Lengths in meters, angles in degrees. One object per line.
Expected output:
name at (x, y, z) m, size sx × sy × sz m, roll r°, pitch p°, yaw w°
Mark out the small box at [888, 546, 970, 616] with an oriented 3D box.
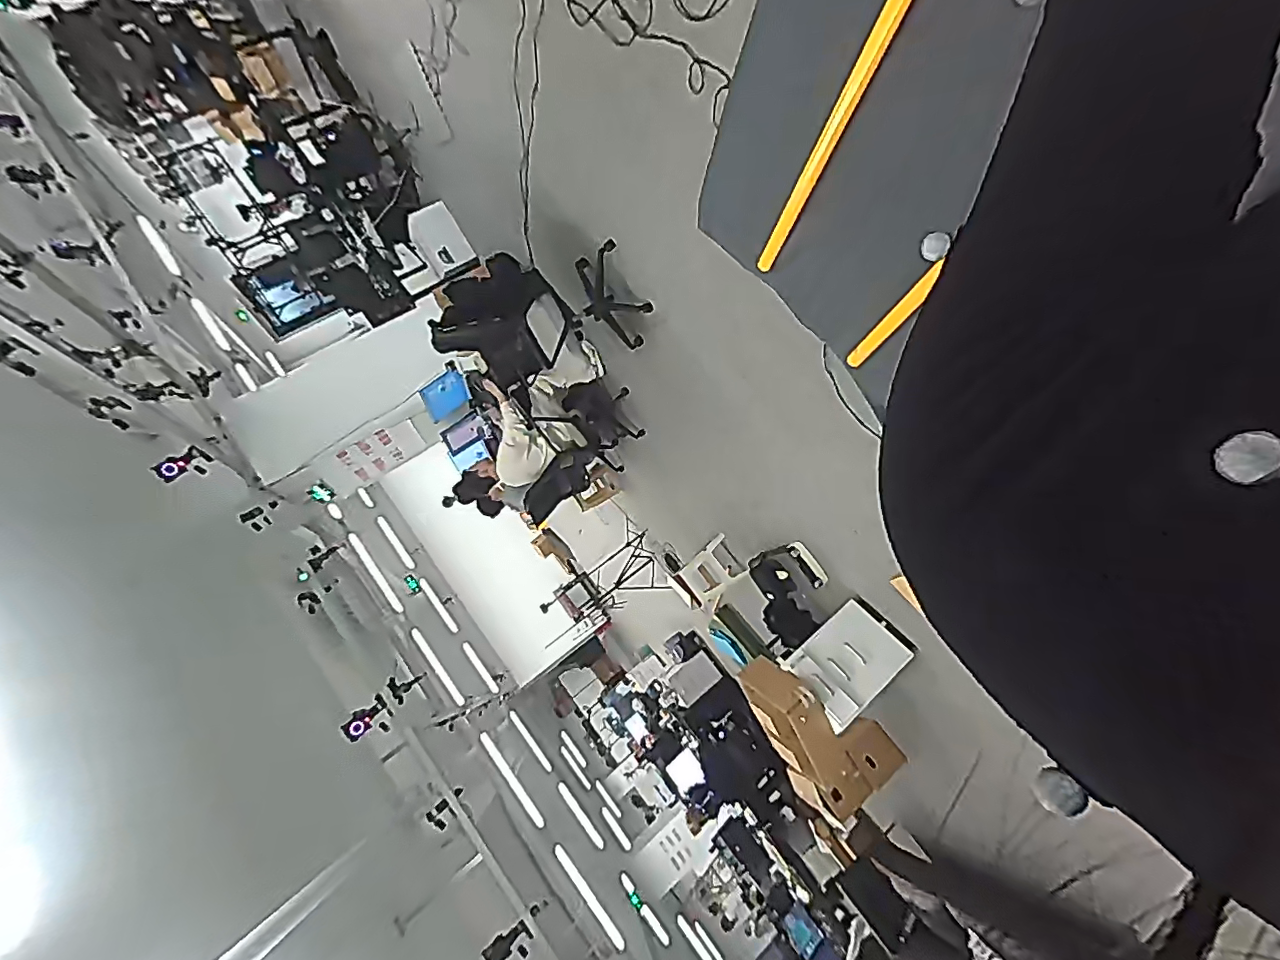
small box at (1.049, 0.364, 1.953) m, size 0.168 × 0.176 × 0.179 m, roll 49°, pitch 162°, yaw 15°
